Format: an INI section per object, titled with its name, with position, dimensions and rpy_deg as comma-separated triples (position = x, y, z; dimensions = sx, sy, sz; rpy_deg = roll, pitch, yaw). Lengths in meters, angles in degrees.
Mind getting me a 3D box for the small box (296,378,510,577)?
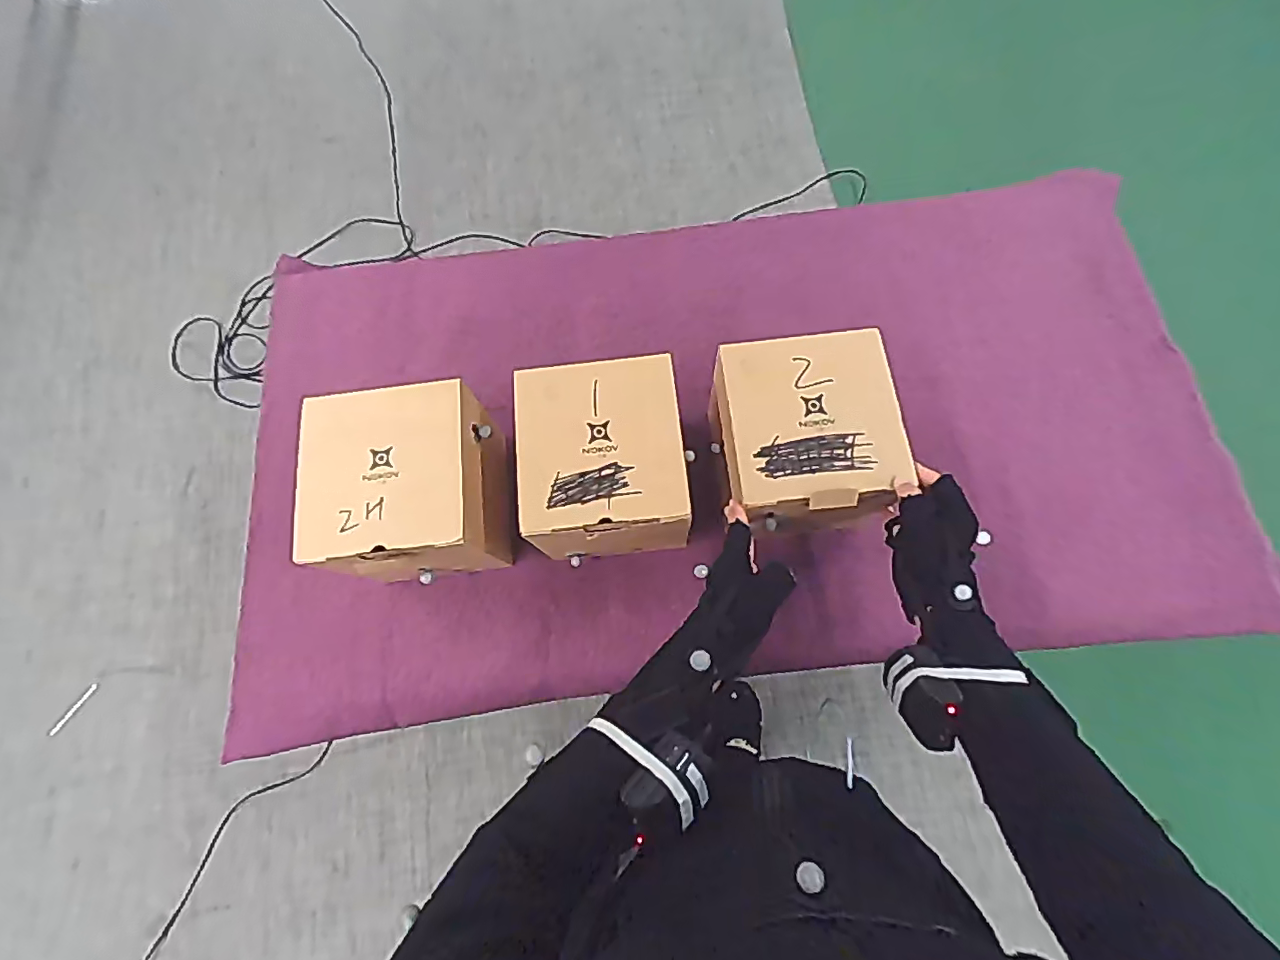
[small box]
position = -0.253, 0.007, 0.615
dimensions = 0.168, 0.176, 0.179
rpy_deg = -7, 74, 1
